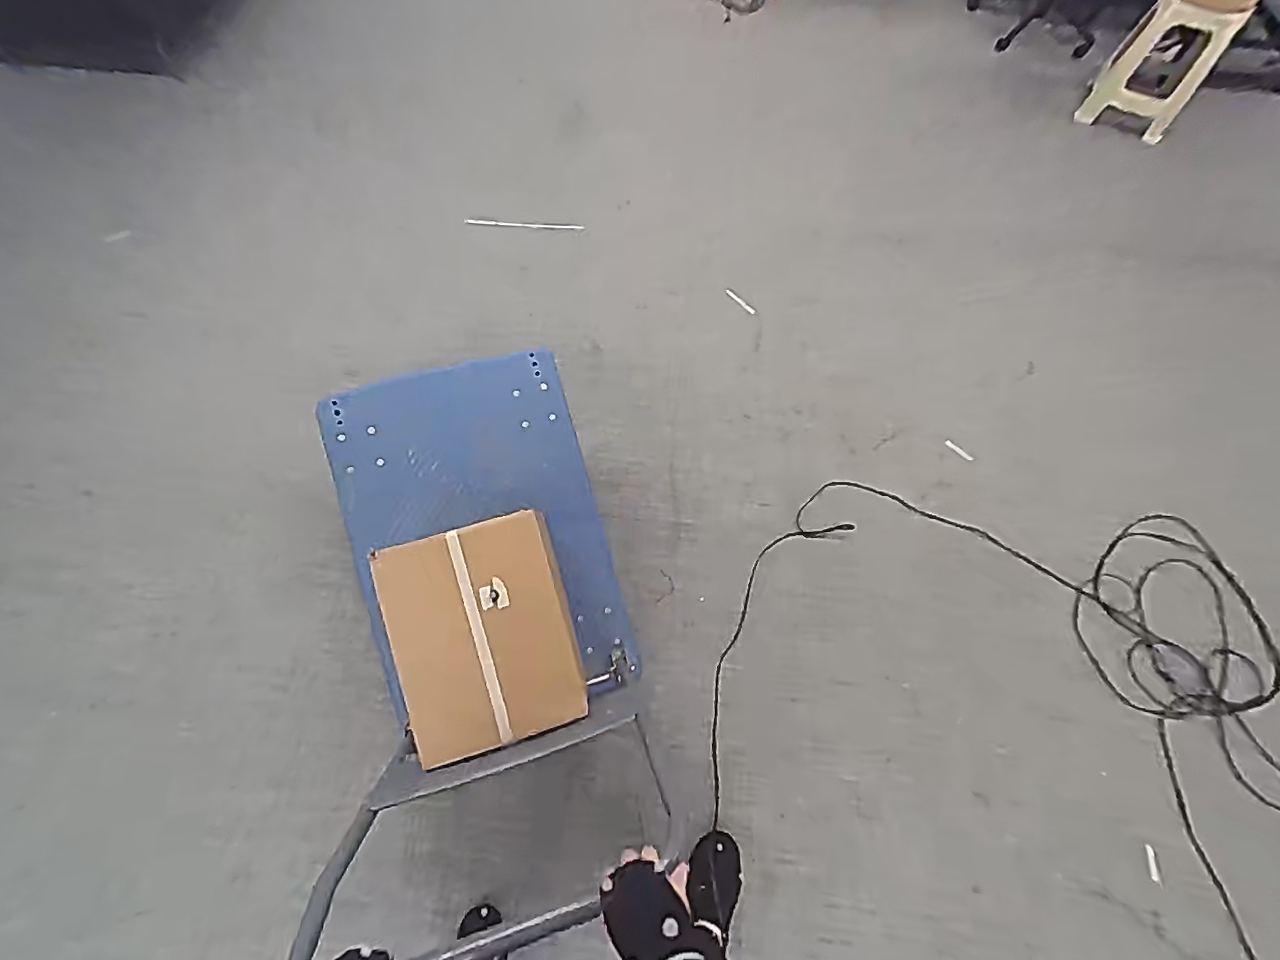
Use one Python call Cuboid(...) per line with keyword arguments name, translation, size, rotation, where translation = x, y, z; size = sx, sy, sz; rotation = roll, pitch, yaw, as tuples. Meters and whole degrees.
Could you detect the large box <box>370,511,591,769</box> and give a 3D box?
Cuboid(name="large box", translation=(-0.310, 0.306, 1.149), size=(0.320, 0.320, 0.408), rotation=(-17, 86, -9))
